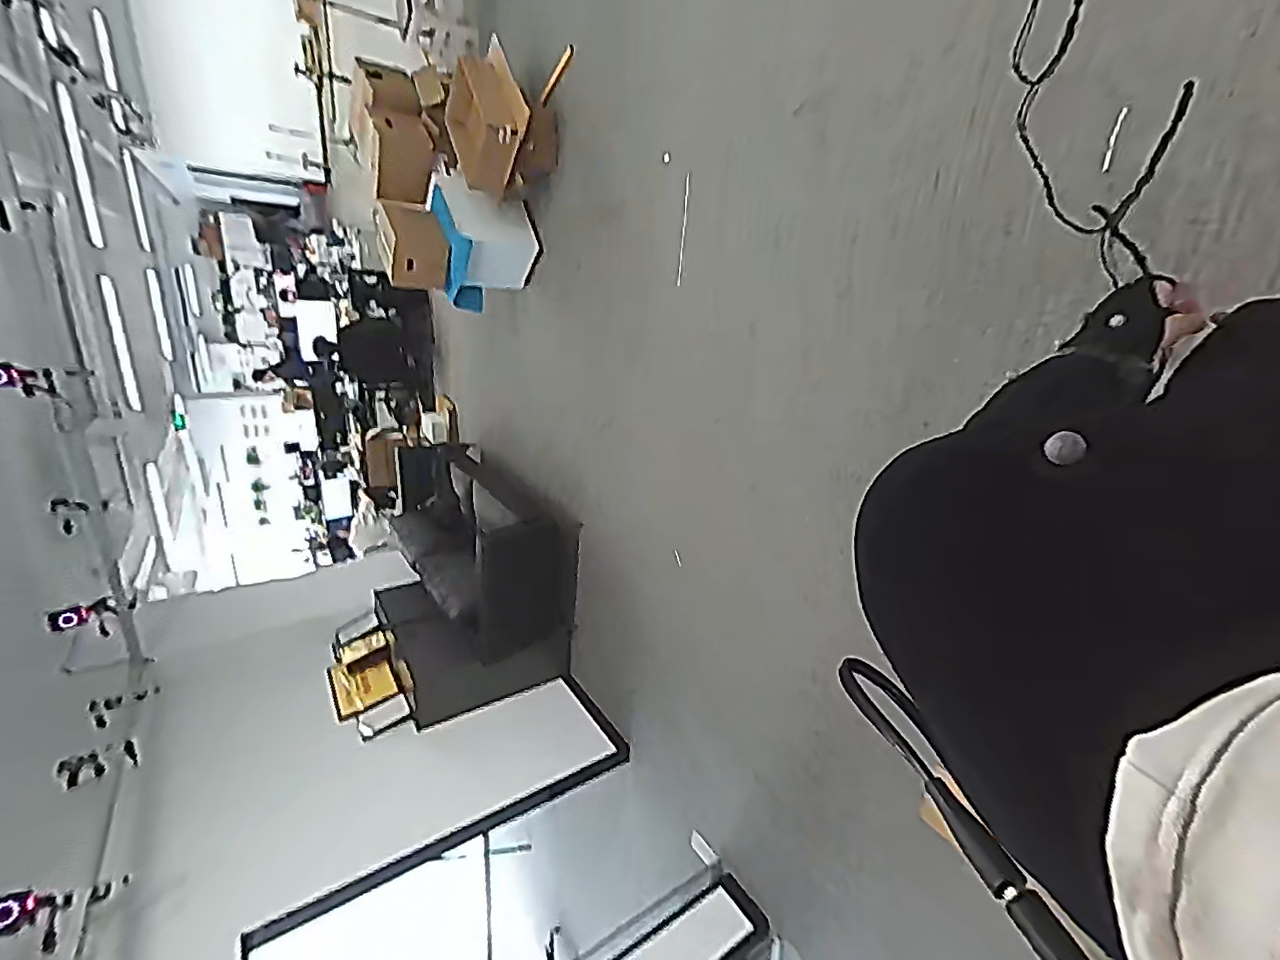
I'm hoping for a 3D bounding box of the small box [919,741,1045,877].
[{"bbox_3d":[0.785,0.742,1.242,0.179,0.176,0.168,28,120,50],"label":"small box"}]
